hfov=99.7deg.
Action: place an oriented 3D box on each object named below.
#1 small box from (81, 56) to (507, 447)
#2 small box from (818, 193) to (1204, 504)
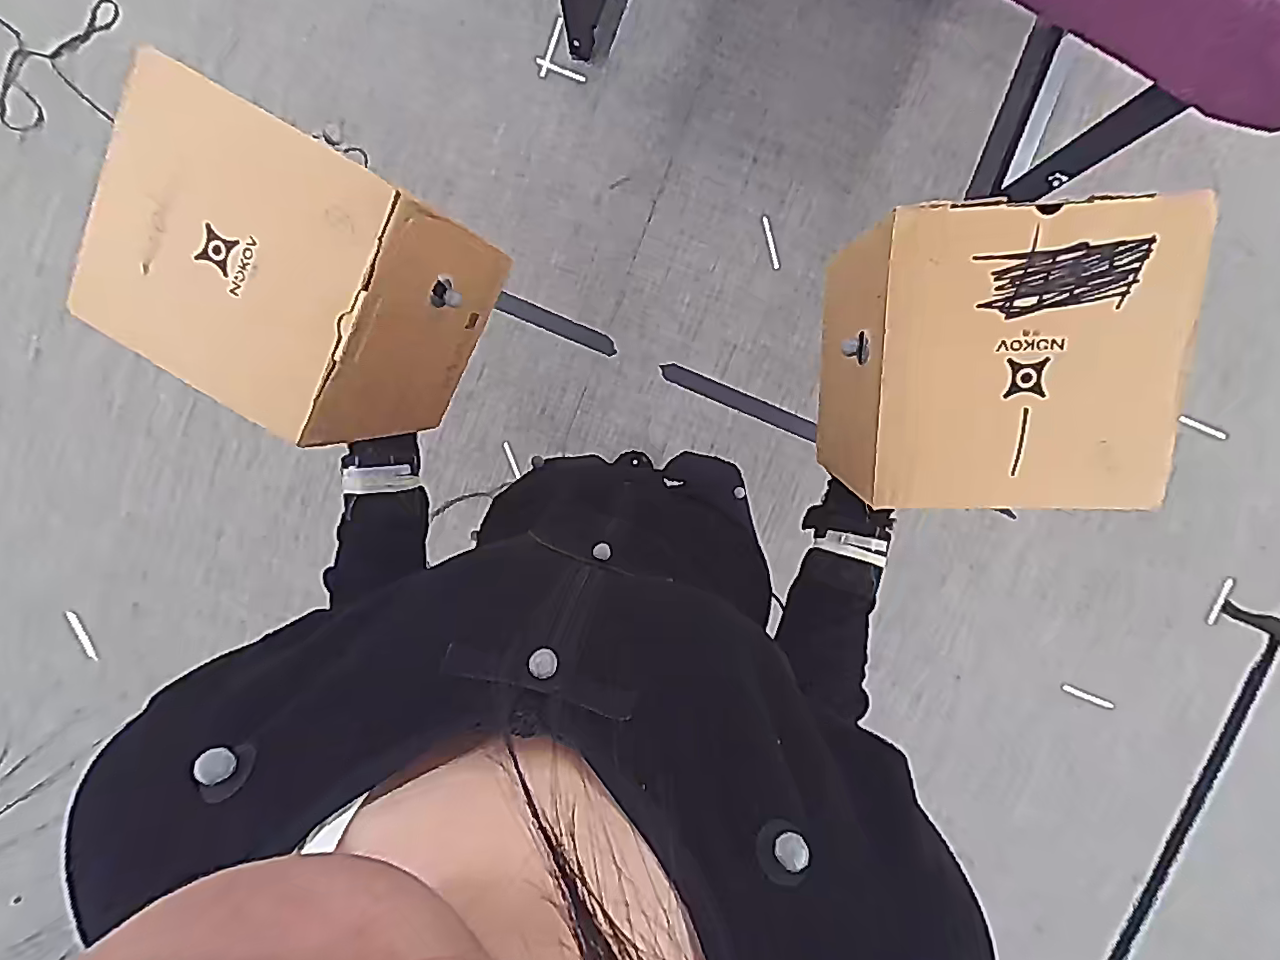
[{"bbox_3d":[-0.226,-0.143,0.396,0.179,0.176,0.168,29,102,3],"label":"small box"},{"bbox_3d":[0.233,-0.087,0.394,0.168,0.176,0.179,0,103,6],"label":"small box"}]
